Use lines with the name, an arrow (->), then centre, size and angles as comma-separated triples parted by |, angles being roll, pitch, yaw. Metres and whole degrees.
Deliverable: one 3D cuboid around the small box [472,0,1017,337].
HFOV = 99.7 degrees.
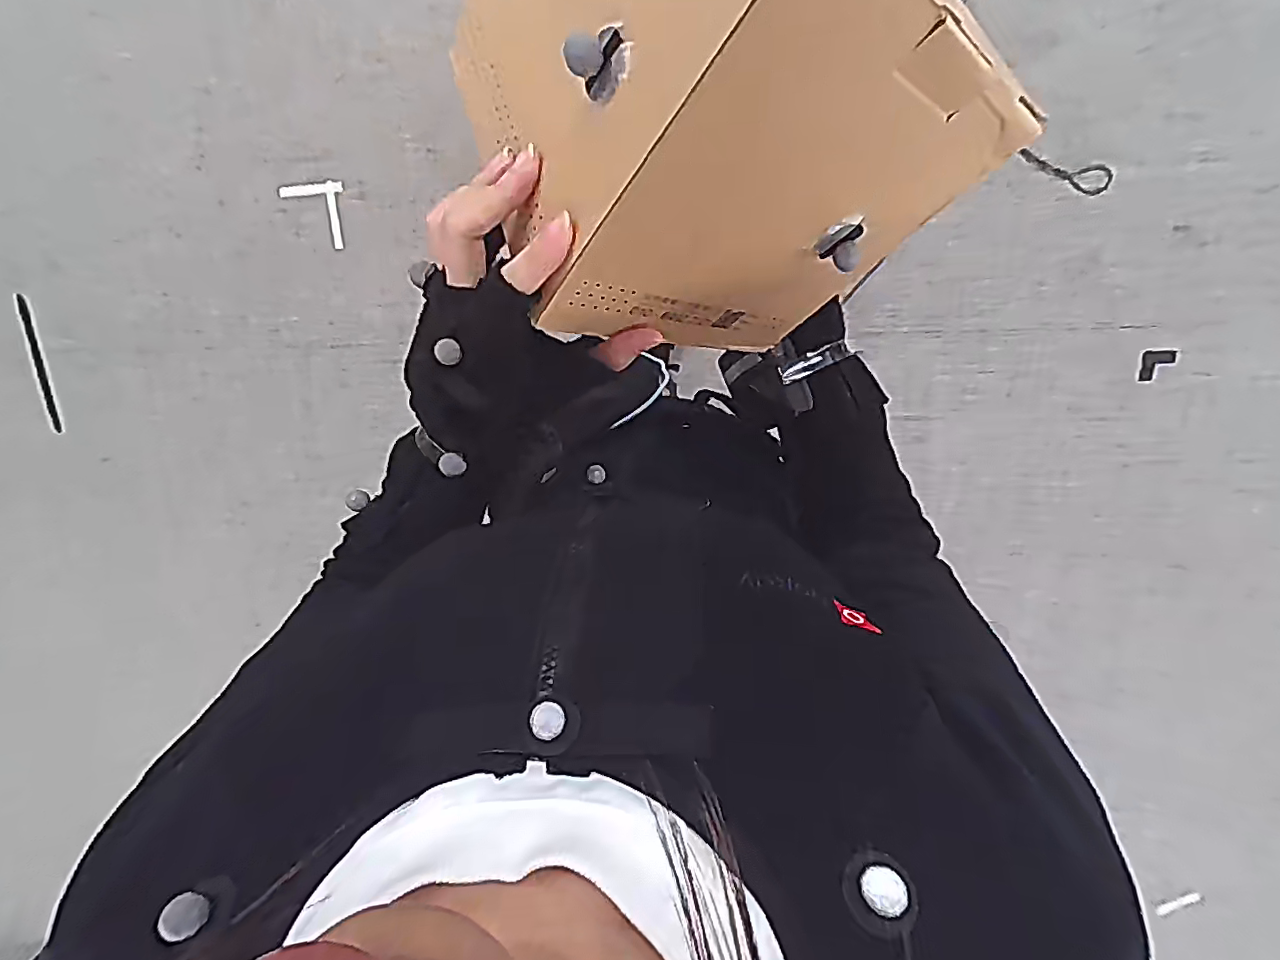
small box -> 0.034, -0.194, 0.270 | 0.176, 0.168, 0.179 | -36, 66, 46
